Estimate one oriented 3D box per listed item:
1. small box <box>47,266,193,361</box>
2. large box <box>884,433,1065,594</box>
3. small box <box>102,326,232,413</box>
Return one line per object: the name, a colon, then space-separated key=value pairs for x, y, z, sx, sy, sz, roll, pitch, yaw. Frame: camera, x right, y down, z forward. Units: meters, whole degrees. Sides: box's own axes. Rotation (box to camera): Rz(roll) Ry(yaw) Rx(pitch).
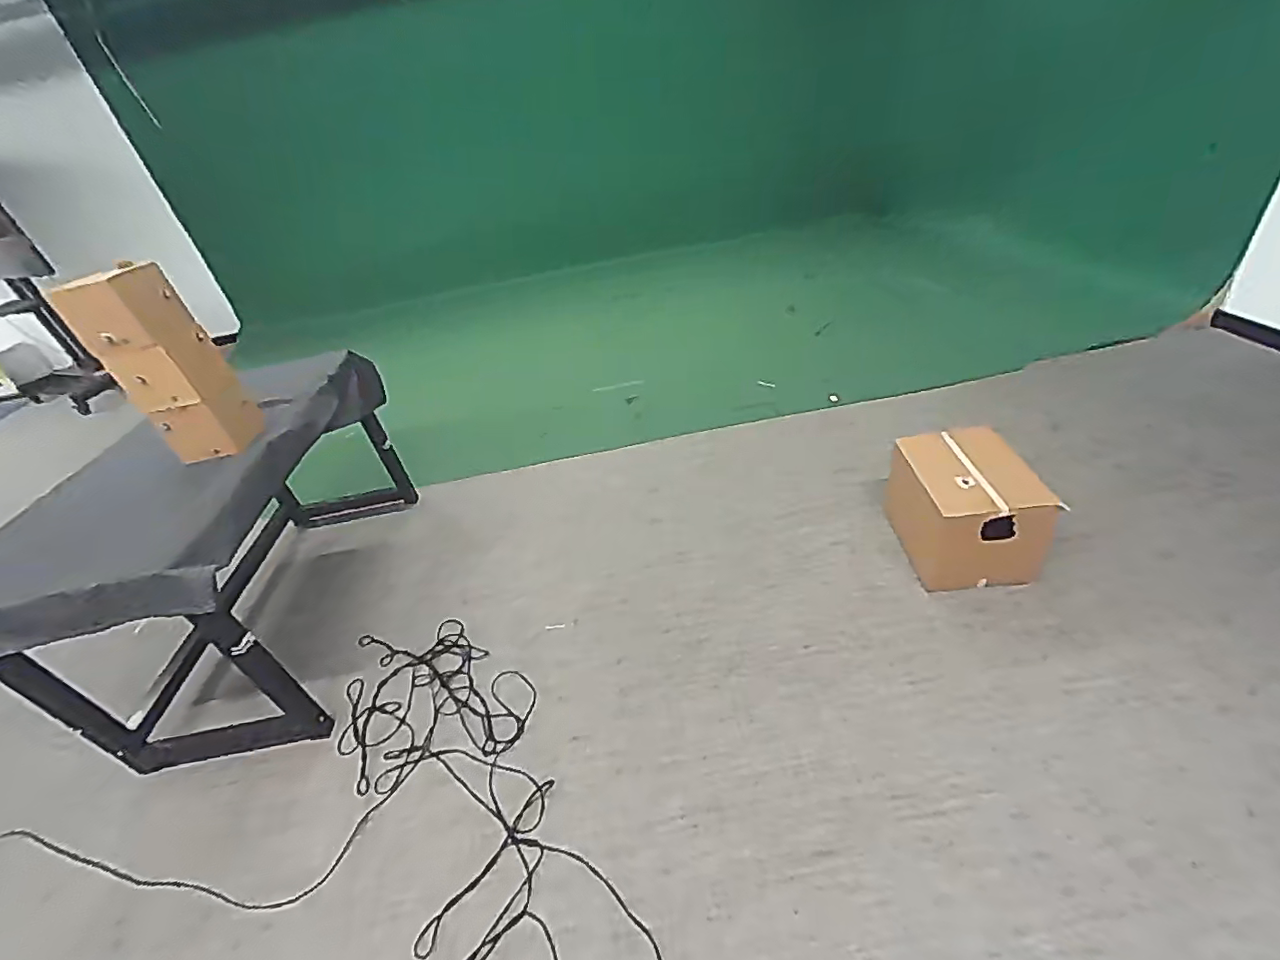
small box: x=-1.293 y=-0.420 z=1.367 sx=0.168 sy=0.176 sz=0.179 roll=-12 pitch=36 yaw=2
large box: x=1.014 y=0.099 z=1.711 sx=0.320 sy=0.320 sz=0.408 roll=-7 pitch=37 yaw=6
small box: x=-1.261 y=-0.292 z=1.462 sx=0.168 sy=0.176 sz=0.179 roll=-11 pitch=35 yaw=1
